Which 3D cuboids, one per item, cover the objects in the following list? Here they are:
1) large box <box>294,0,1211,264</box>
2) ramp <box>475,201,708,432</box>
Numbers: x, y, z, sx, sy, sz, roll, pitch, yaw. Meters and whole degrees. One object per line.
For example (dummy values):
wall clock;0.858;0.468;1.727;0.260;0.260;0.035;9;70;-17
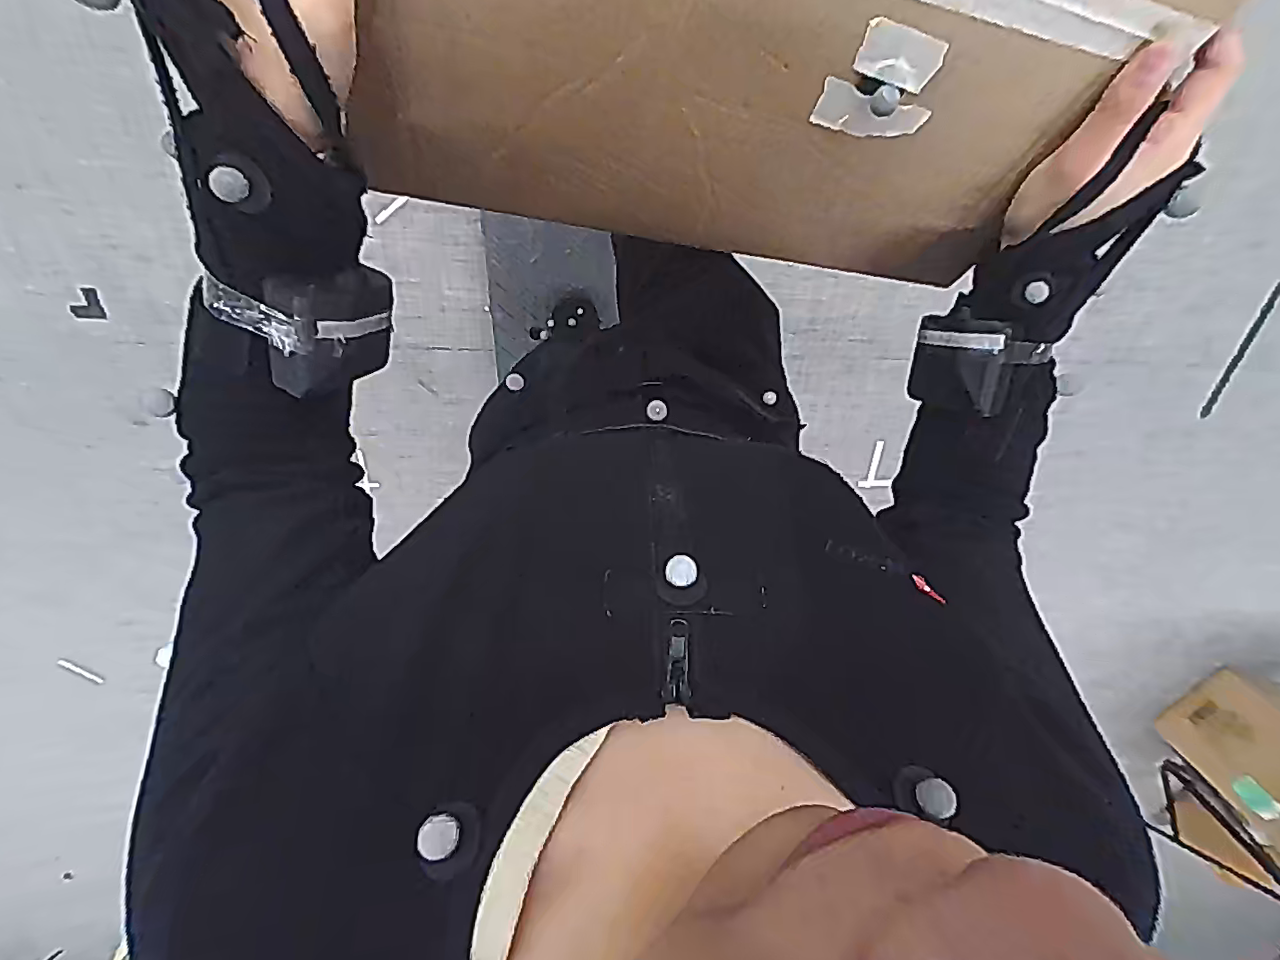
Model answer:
large box;0.051;-0.357;0.269;0.408;0.320;0.320;2;157;-14
ramp;-0.096;-0.512;1.165;0.509;0.206;0.991;-2;121;-6
